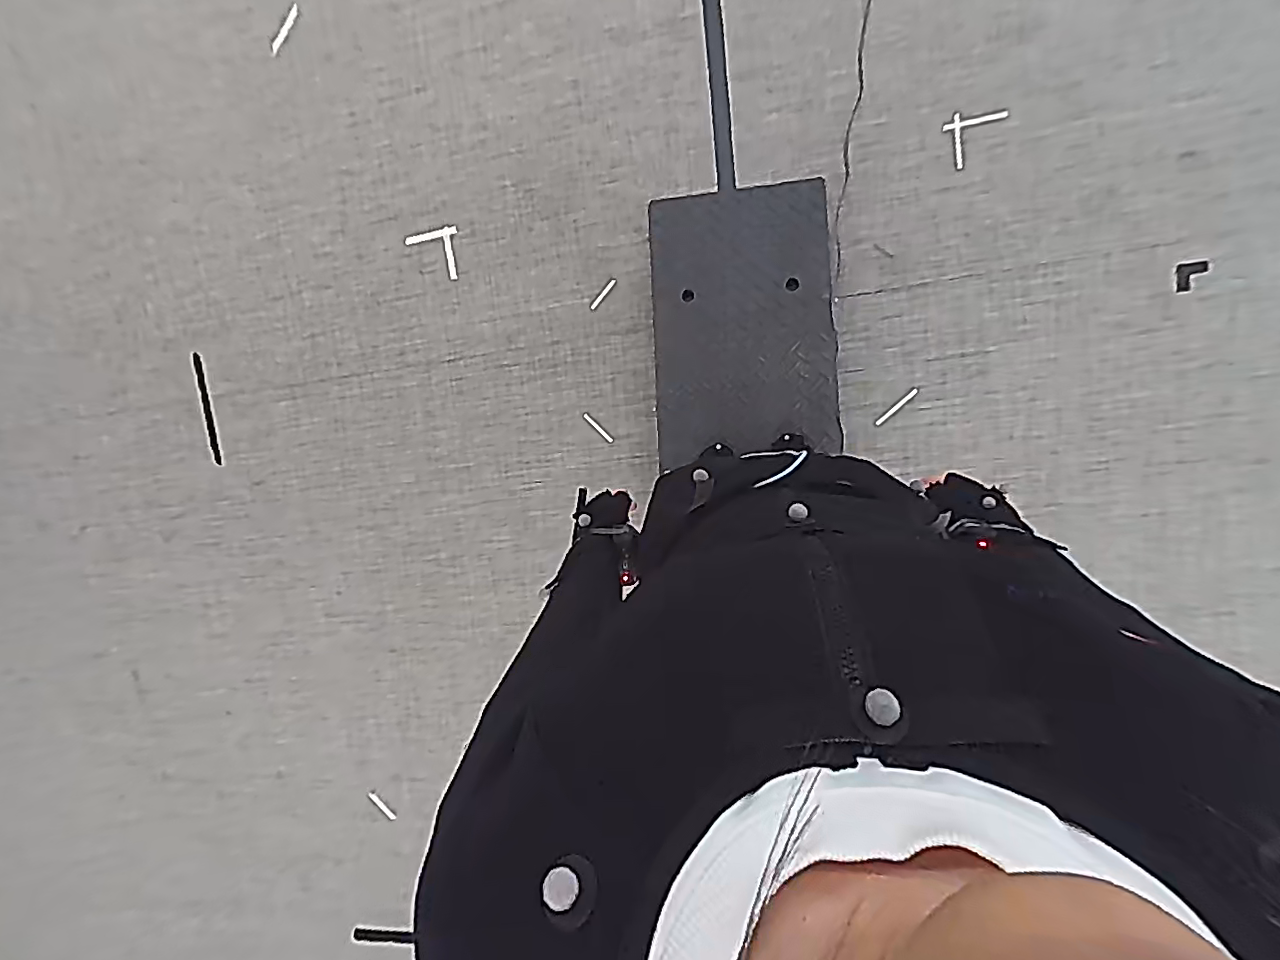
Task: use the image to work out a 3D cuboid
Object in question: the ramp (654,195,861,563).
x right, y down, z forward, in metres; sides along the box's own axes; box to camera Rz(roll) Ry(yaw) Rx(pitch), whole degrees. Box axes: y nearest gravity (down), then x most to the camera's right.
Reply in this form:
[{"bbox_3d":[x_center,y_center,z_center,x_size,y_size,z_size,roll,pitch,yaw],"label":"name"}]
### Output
[{"bbox_3d":[0.304,-0.281,1.498,0.509,0.206,0.991,-6,93,12],"label":"ramp"}]
